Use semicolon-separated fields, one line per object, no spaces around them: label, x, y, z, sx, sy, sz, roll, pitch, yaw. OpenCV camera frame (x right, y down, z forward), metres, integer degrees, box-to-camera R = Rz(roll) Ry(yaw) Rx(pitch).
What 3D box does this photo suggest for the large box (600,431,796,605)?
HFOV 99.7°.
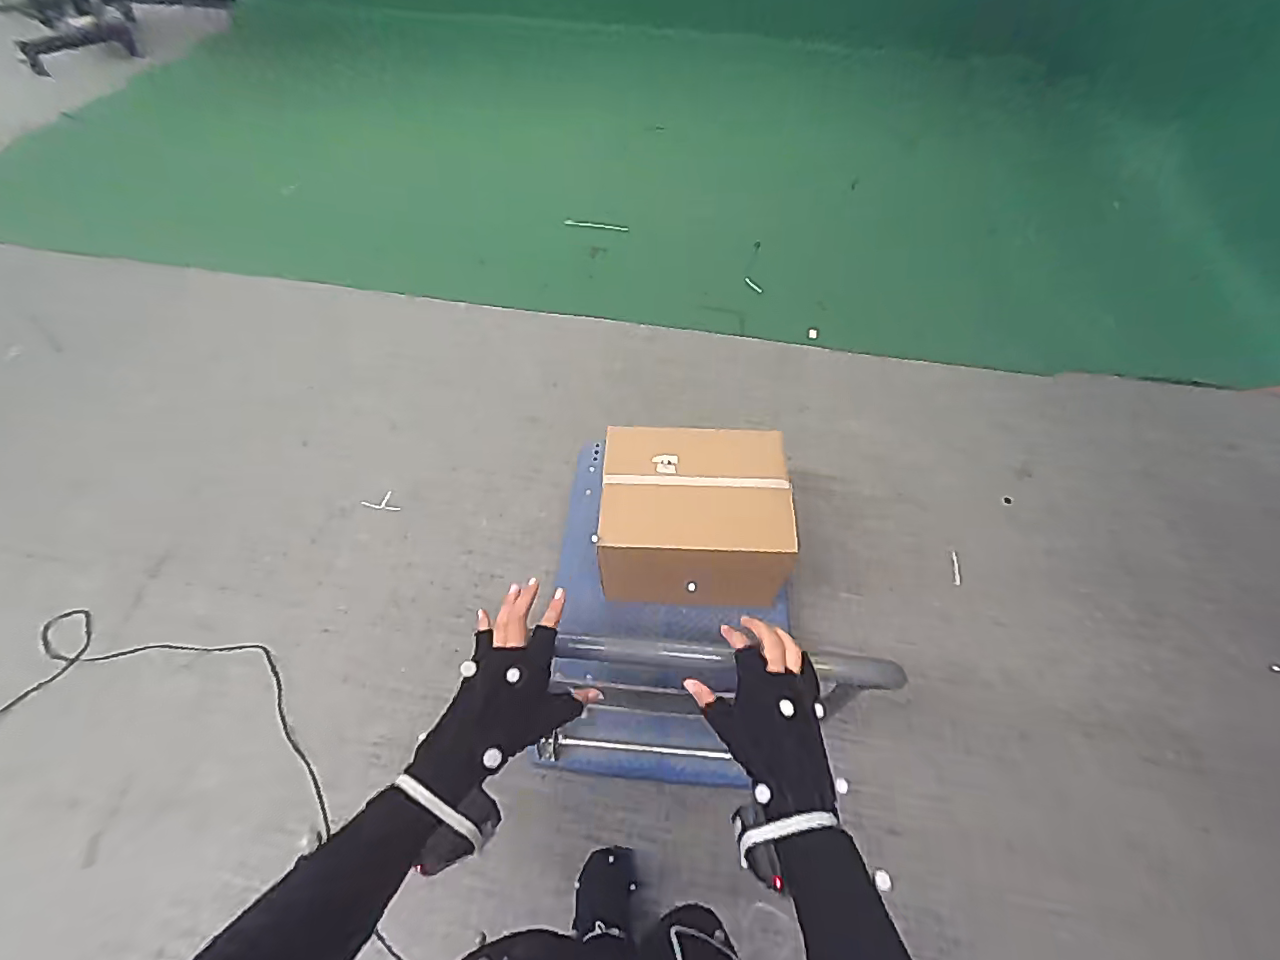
large box;0.125;0.098;1.296;0.408;0.320;0.320;2;55;2
